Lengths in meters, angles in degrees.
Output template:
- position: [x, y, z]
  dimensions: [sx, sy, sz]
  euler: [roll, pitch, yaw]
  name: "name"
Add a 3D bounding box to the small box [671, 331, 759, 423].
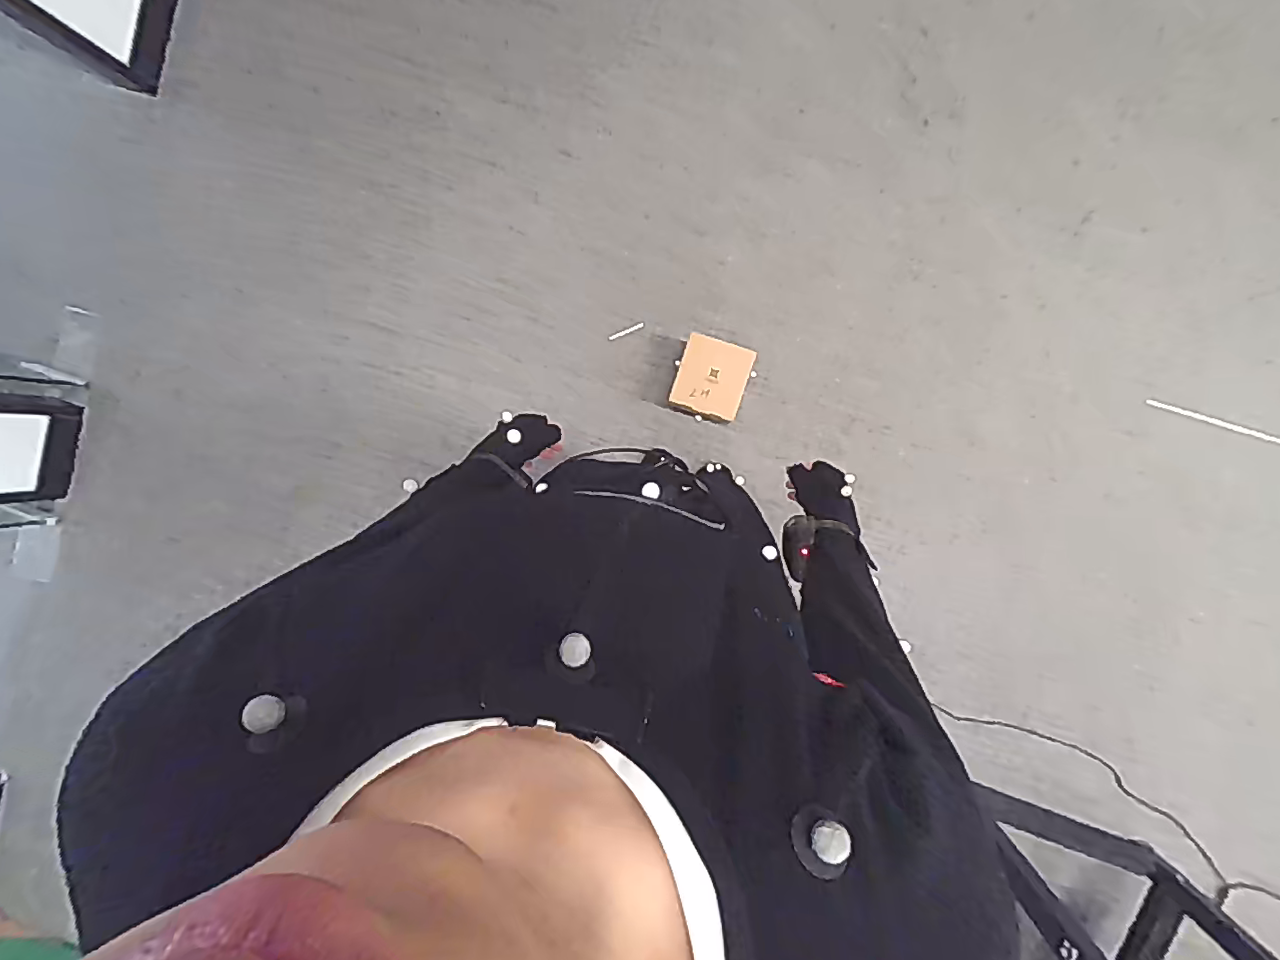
- position: [0.182, -0.252, 1.358]
  dimensions: [0.168, 0.176, 0.179]
  euler: [19, 96, 4]
  name: "small box"
